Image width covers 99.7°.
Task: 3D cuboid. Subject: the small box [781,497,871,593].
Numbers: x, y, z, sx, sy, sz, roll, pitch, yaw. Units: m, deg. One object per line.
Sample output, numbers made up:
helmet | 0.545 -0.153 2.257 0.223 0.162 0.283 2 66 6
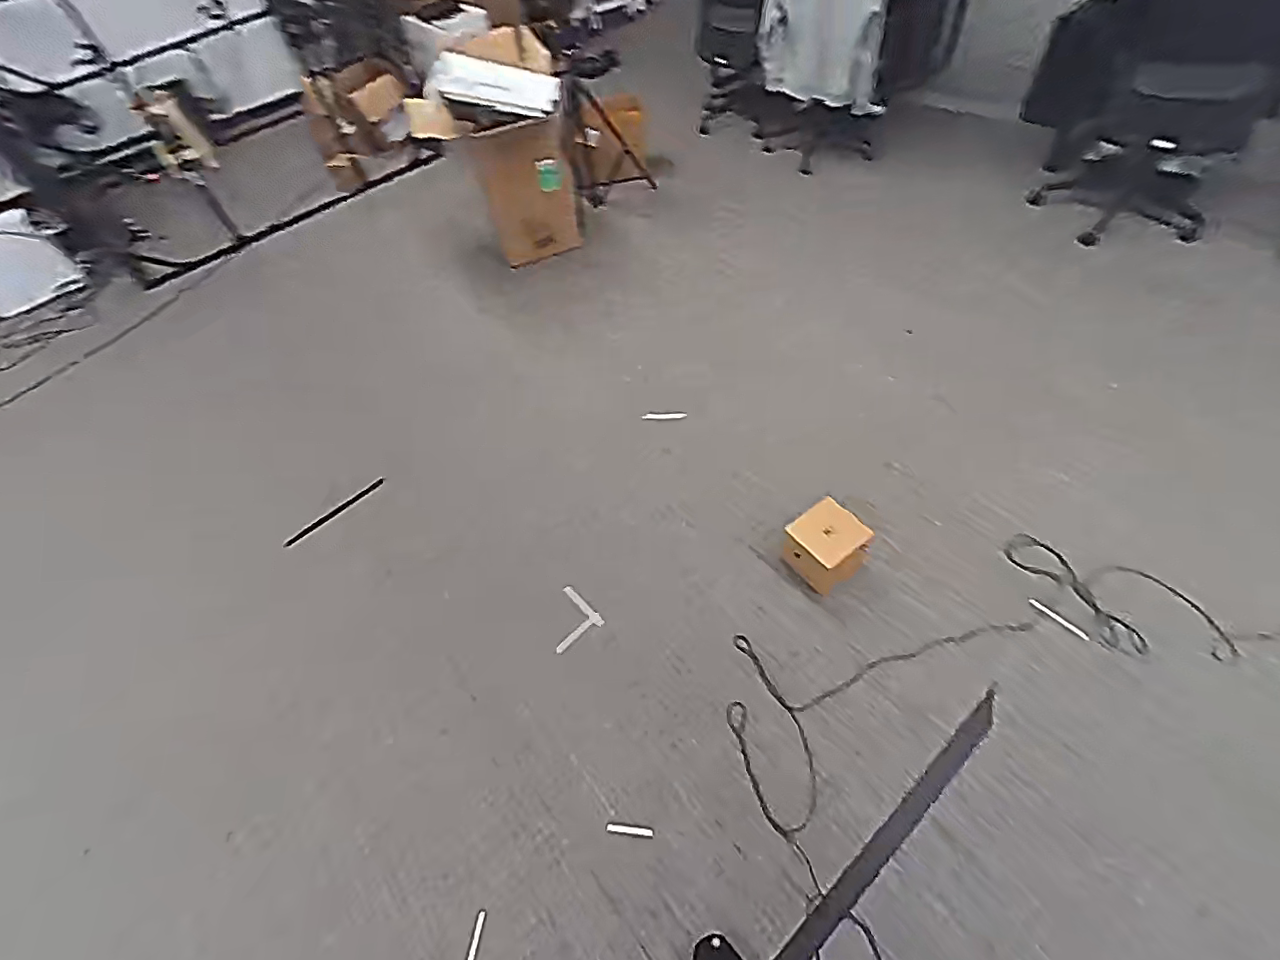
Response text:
small box | 0.521 0.190 1.538 0.179 0.176 0.168 -33 54 -15
